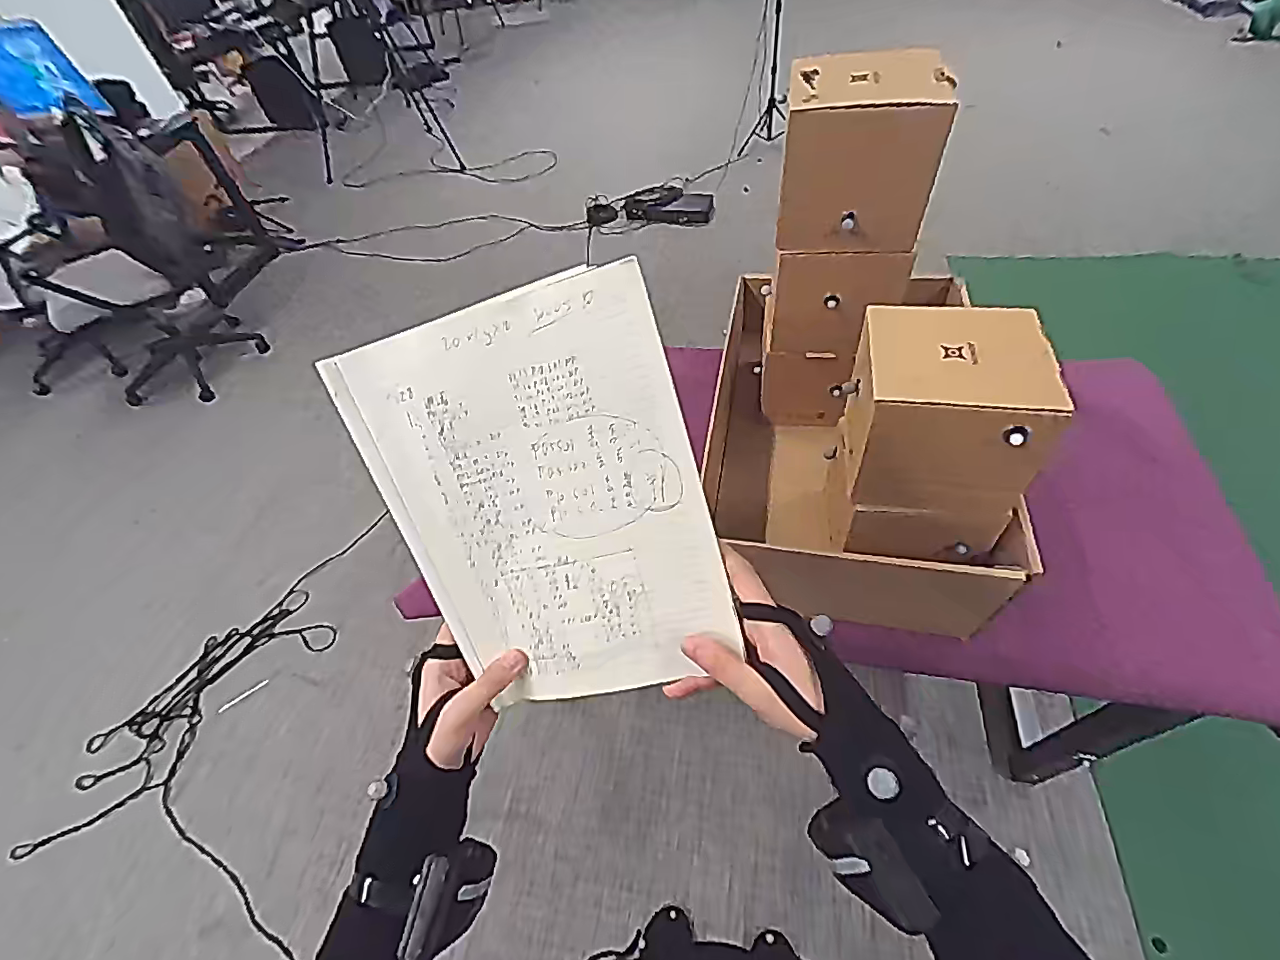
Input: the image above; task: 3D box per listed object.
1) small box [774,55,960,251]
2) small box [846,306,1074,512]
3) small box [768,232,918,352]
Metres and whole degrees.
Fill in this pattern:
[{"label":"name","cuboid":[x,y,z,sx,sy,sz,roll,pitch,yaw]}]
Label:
[{"label":"small box","cuboid":[0.274,-0.413,0.691,0.179,0.176,0.168,6,53,11]},{"label":"small box","cuboid":[0.339,-0.080,0.621,0.179,0.176,0.168,6,51,12]},{"label":"small box","cuboid":[0.293,-0.309,0.817,0.179,0.176,0.168,3,53,10]}]
